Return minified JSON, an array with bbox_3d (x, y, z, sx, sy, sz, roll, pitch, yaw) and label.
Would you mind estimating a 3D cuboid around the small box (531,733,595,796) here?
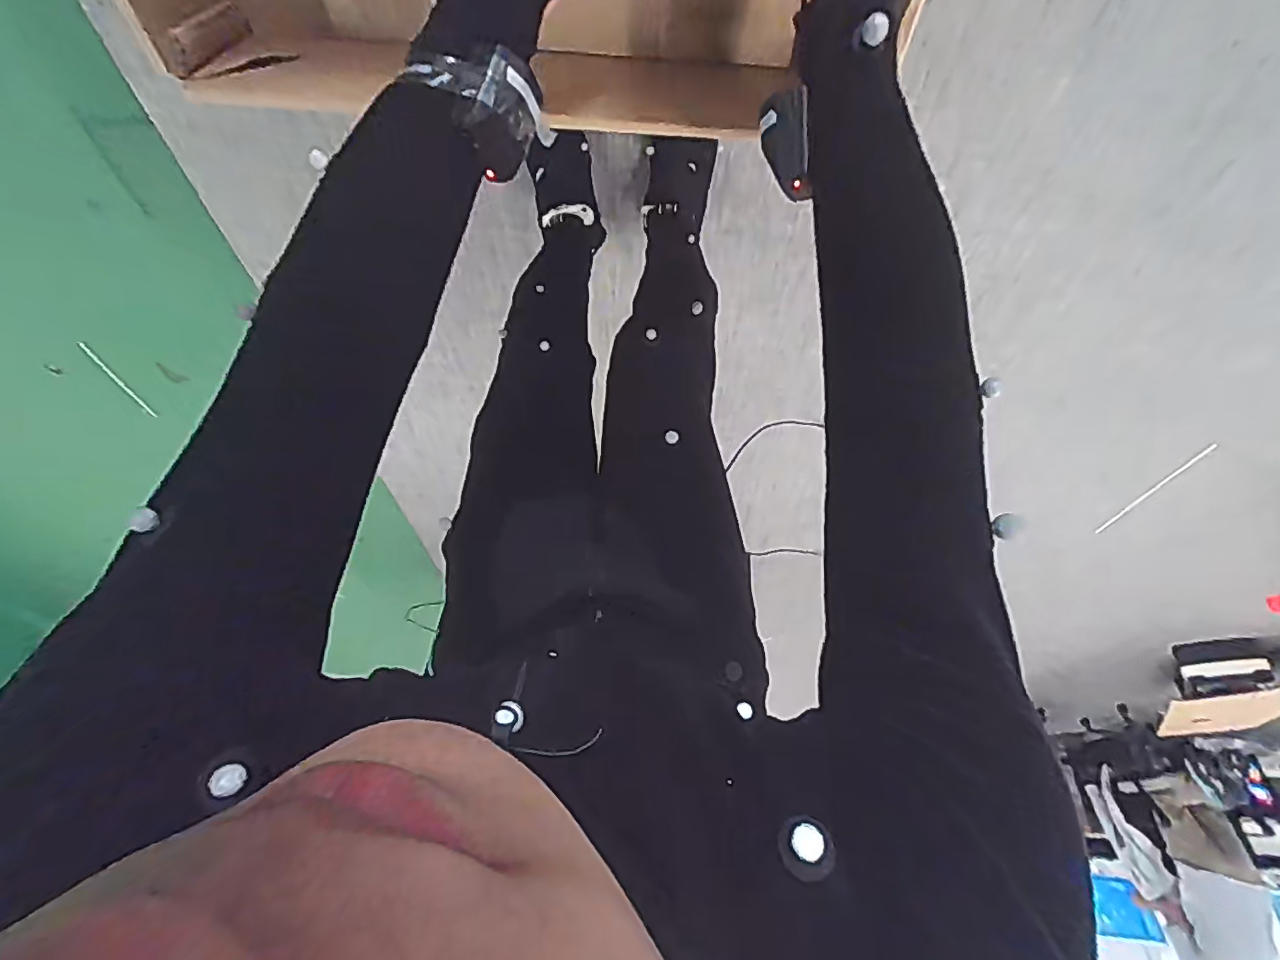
[{"bbox_3d":[-0.258,0.981,1.862,0.168,0.176,0.179,-2,145,9],"label":"small box"}]
